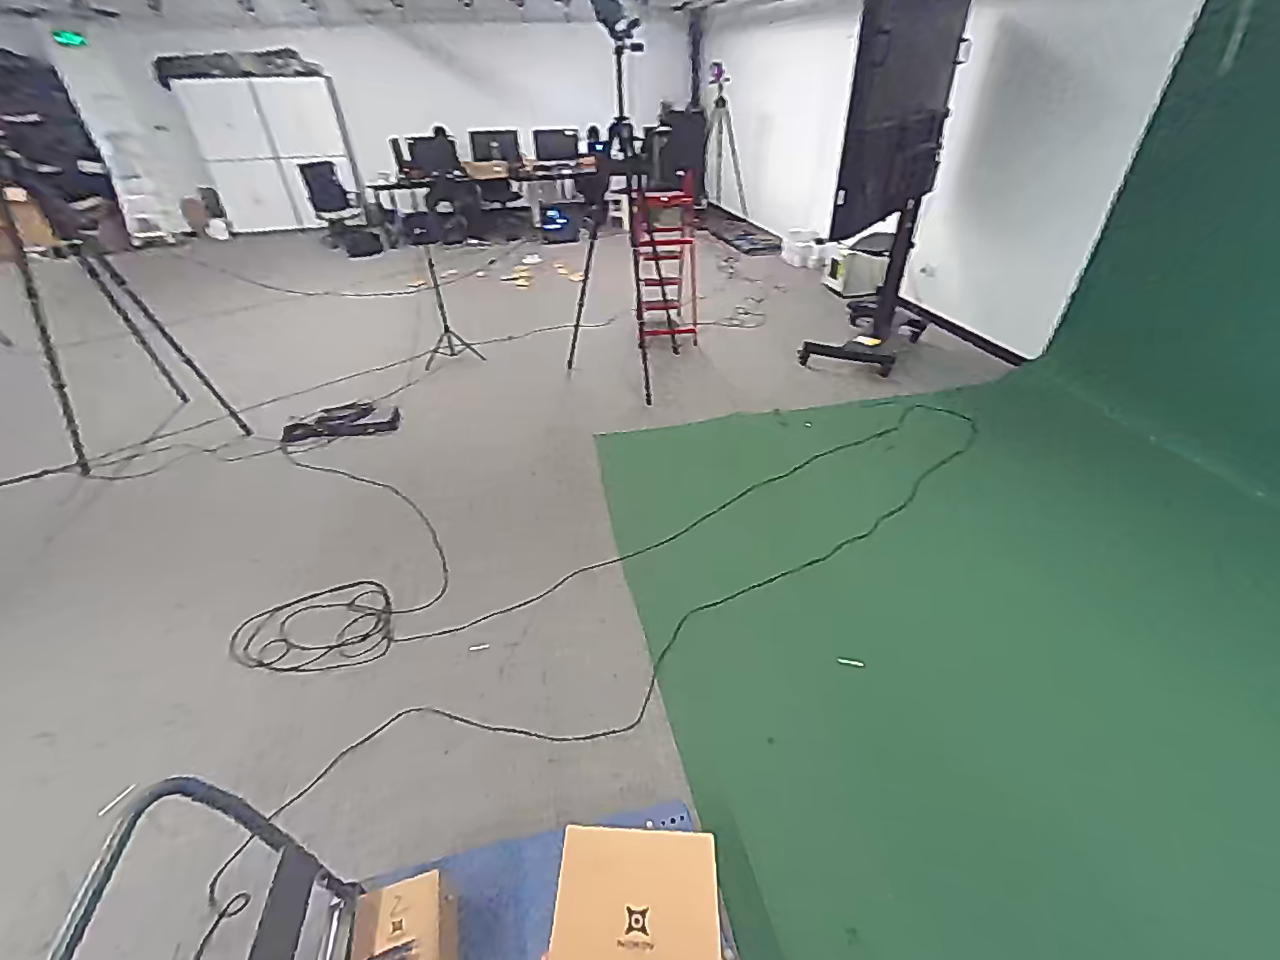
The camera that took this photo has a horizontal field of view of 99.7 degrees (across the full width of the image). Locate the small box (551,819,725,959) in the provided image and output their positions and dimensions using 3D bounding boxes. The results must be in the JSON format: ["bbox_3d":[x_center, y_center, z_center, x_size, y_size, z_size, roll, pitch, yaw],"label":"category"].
[{"bbox_3d":[-0.005,0.496,0.574,0.168,0.176,0.179,4,37,1],"label":"small box"}]
